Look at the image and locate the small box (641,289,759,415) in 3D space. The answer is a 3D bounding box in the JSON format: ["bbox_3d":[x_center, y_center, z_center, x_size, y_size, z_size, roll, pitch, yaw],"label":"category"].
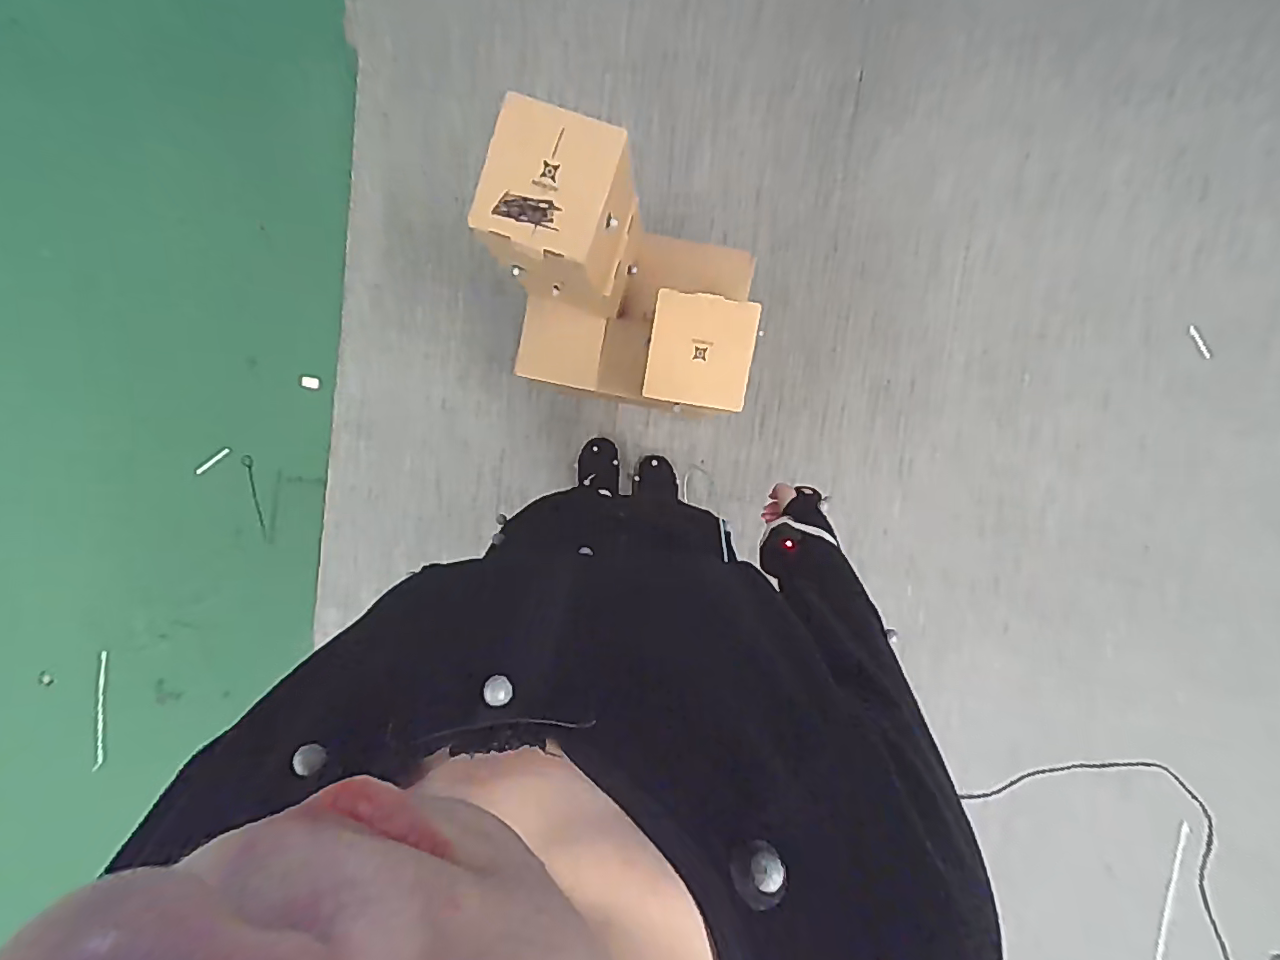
[{"bbox_3d":[0.099,-0.212,0.940,0.168,0.176,0.179,9,95,1],"label":"small box"}]

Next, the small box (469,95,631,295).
[{"bbox_3d":[-0.115,-0.388,0.771,0.168,0.176,0.179,19,93,1],"label":"small box"}]

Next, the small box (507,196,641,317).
[{"bbox_3d":[-0.105,-0.397,0.935,0.179,0.176,0.168,17,95,0],"label":"small box"}]
